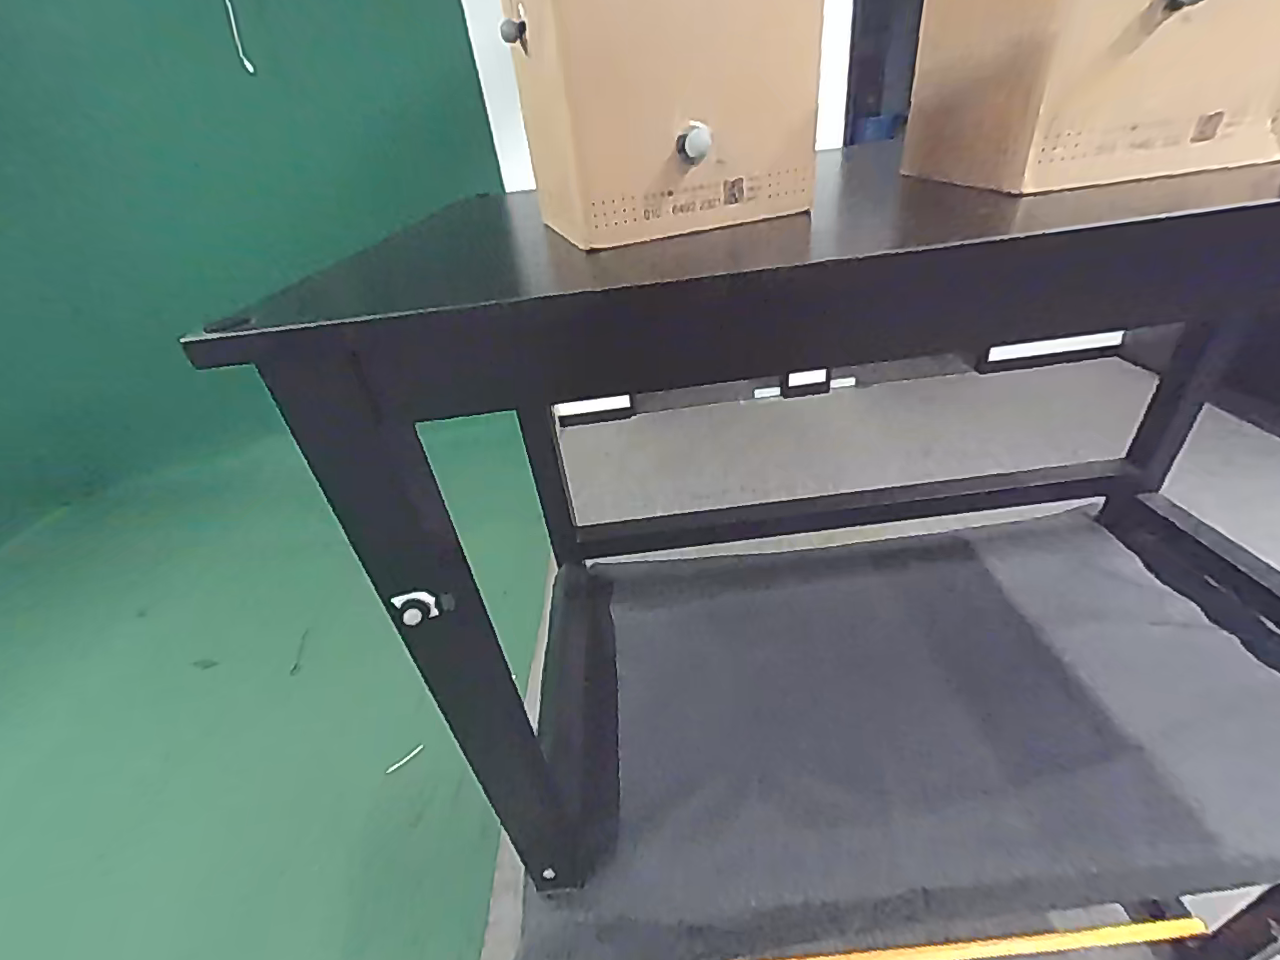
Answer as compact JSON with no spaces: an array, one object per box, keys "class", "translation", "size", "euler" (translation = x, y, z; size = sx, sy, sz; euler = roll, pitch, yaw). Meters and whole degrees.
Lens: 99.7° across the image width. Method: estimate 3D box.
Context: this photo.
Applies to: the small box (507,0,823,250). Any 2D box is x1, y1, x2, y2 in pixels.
[{"class":"small box","translation":[0.008,-0.272,0.386],"size":[0.168,0.176,0.179],"euler":[-15,35,-11]}]
